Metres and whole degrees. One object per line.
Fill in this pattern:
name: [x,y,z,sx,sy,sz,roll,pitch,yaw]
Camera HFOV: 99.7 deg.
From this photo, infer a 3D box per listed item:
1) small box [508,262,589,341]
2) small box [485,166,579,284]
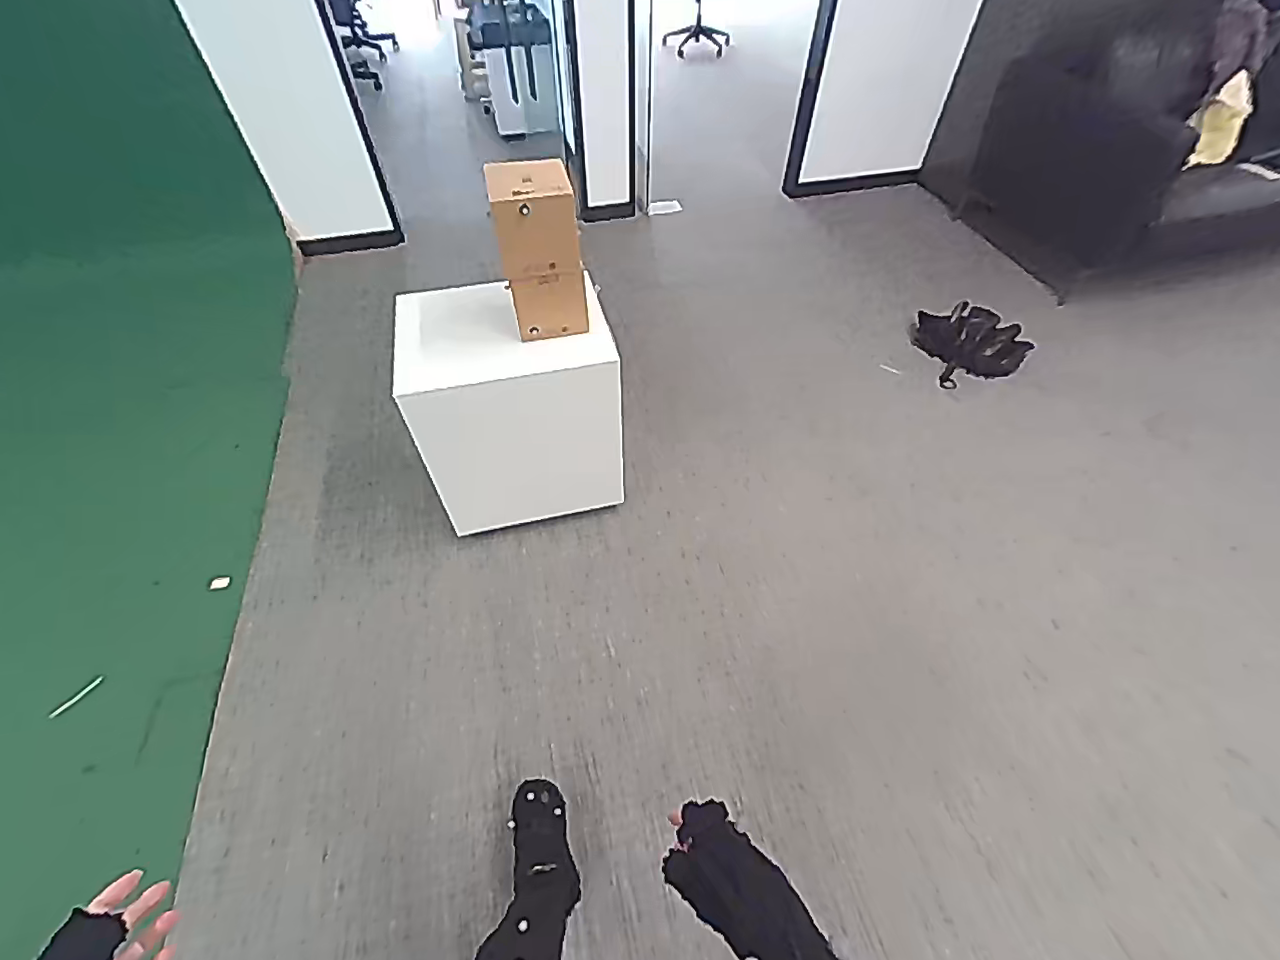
small box: [-0.222,-0.449,1.293,0.168,0.176,0.179,-13,51,-9]
small box: [-0.231,-0.547,1.162,0.168,0.176,0.179,-12,51,-8]
